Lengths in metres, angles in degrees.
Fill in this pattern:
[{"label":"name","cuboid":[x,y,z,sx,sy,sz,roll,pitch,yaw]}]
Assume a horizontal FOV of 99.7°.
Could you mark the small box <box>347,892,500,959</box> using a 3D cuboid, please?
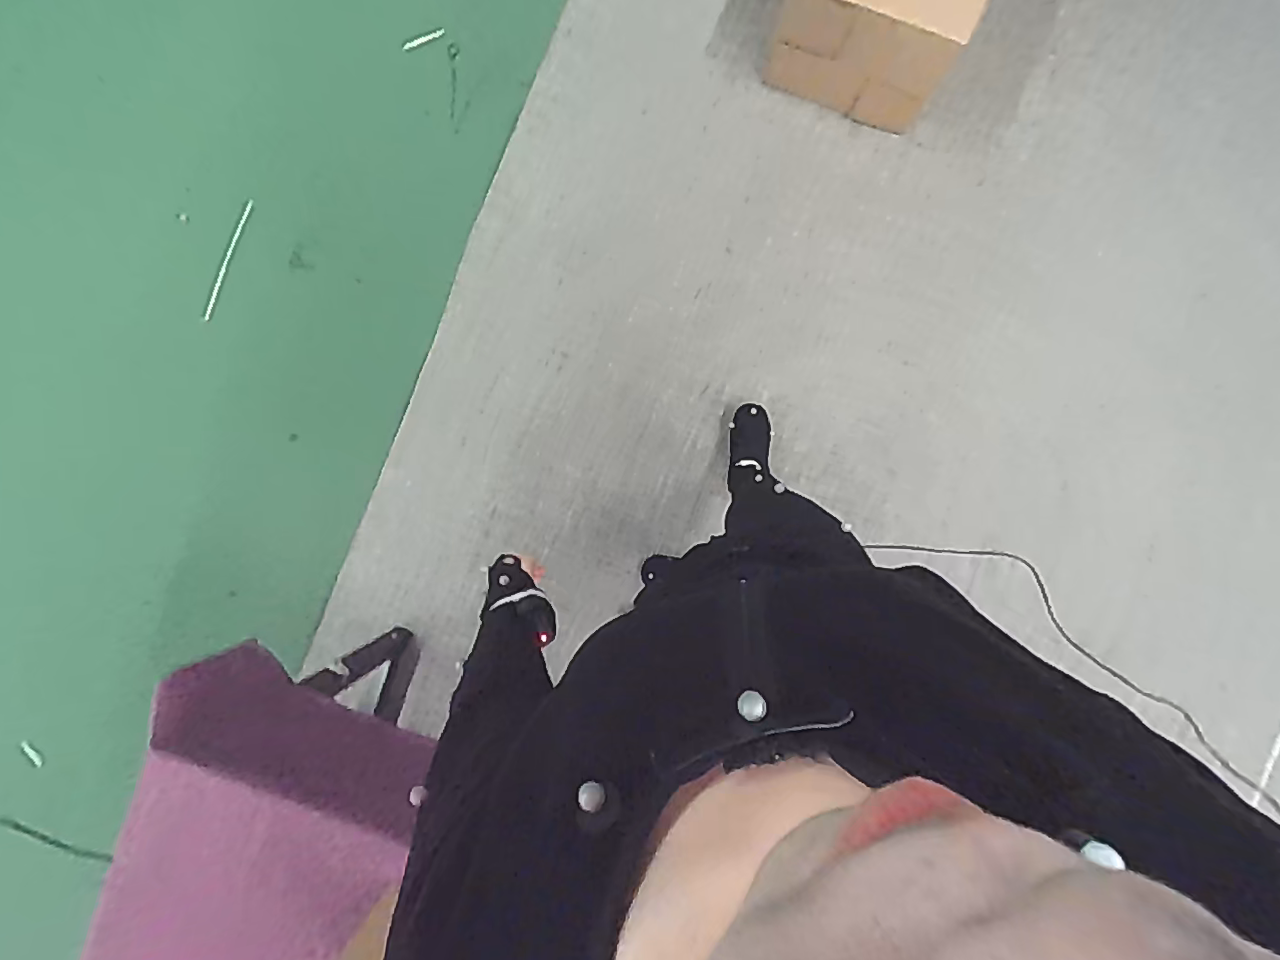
[{"label":"small box","cuboid":[-0.315,0.706,0.721,0.179,0.176,0.168,21,92,3]}]
